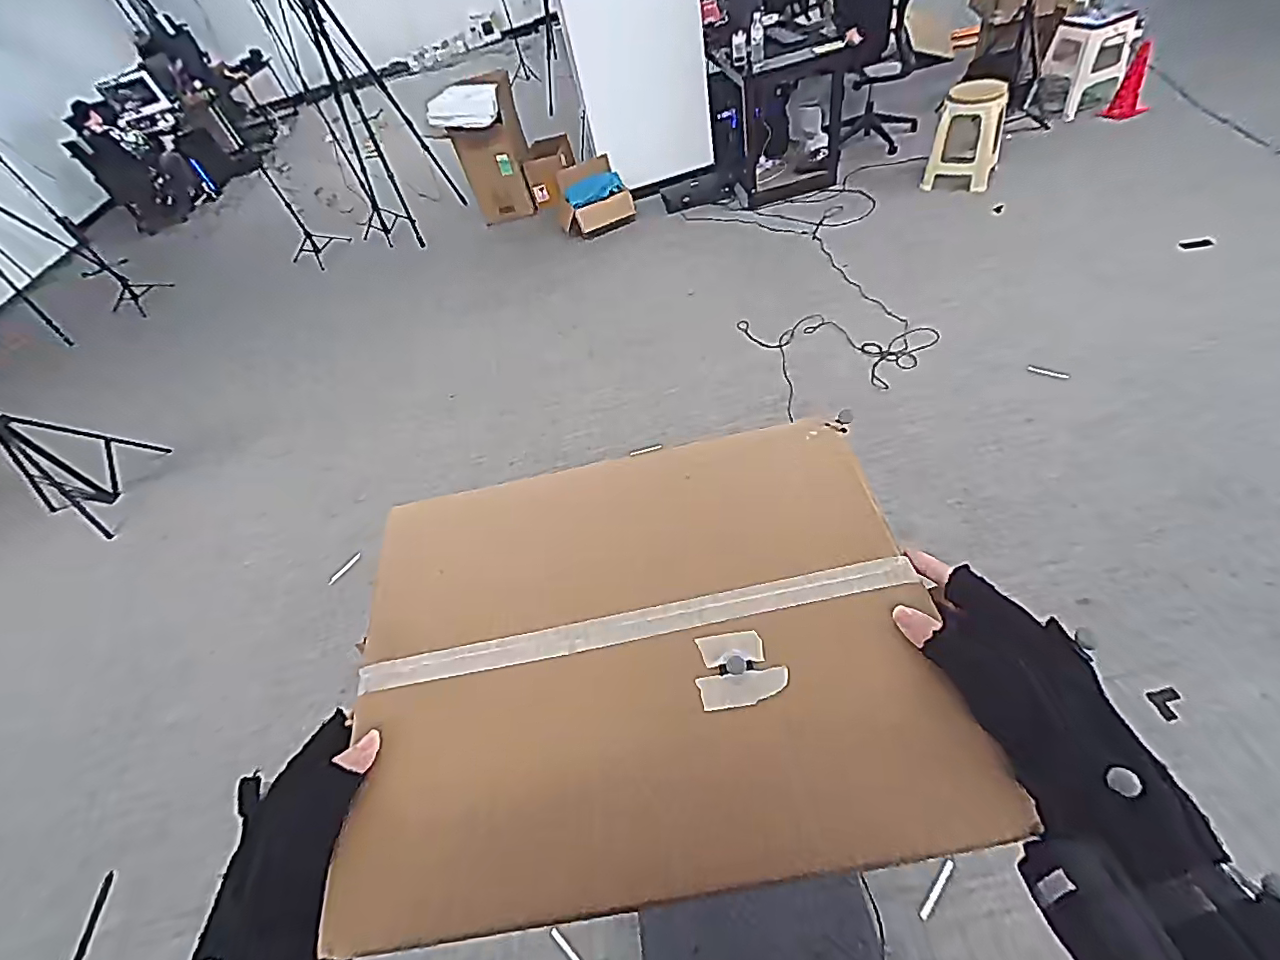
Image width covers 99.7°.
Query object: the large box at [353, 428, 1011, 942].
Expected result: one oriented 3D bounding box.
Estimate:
[{"bbox_3d":[0.021,0.200,0.521,0.408,0.320,0.320,-12,53,2],"label":"large box"}]
